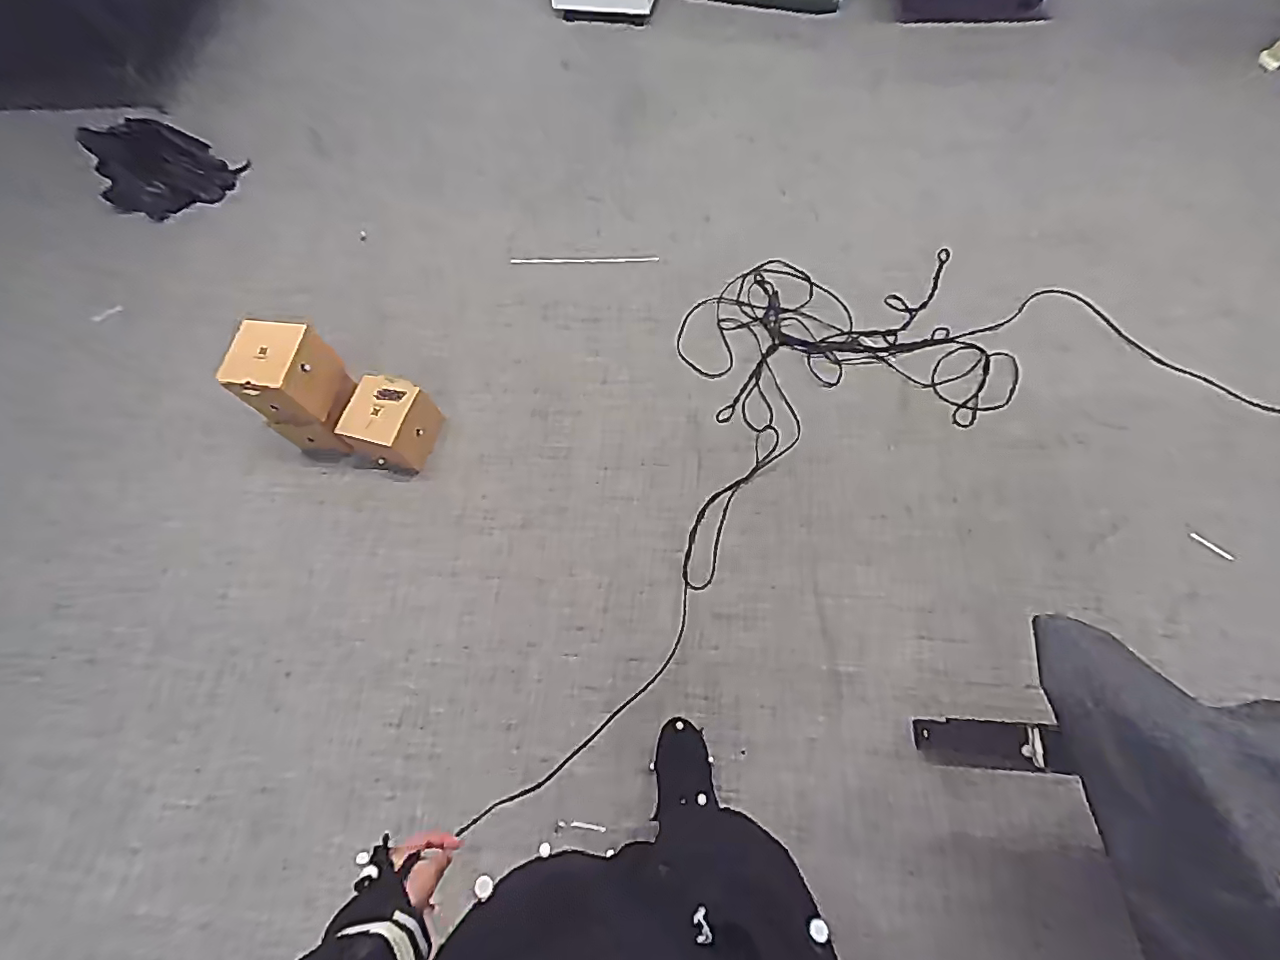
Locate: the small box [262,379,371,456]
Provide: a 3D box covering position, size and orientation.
[{"bbox_3d":[-0.865,-0.179,1.465,0.168,0.176,0.179,6,69,7],"label":"small box"}]

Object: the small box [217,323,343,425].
[{"bbox_3d":[-0.862,-0.254,1.319,0.168,0.176,0.179,6,68,6],"label":"small box"}]
